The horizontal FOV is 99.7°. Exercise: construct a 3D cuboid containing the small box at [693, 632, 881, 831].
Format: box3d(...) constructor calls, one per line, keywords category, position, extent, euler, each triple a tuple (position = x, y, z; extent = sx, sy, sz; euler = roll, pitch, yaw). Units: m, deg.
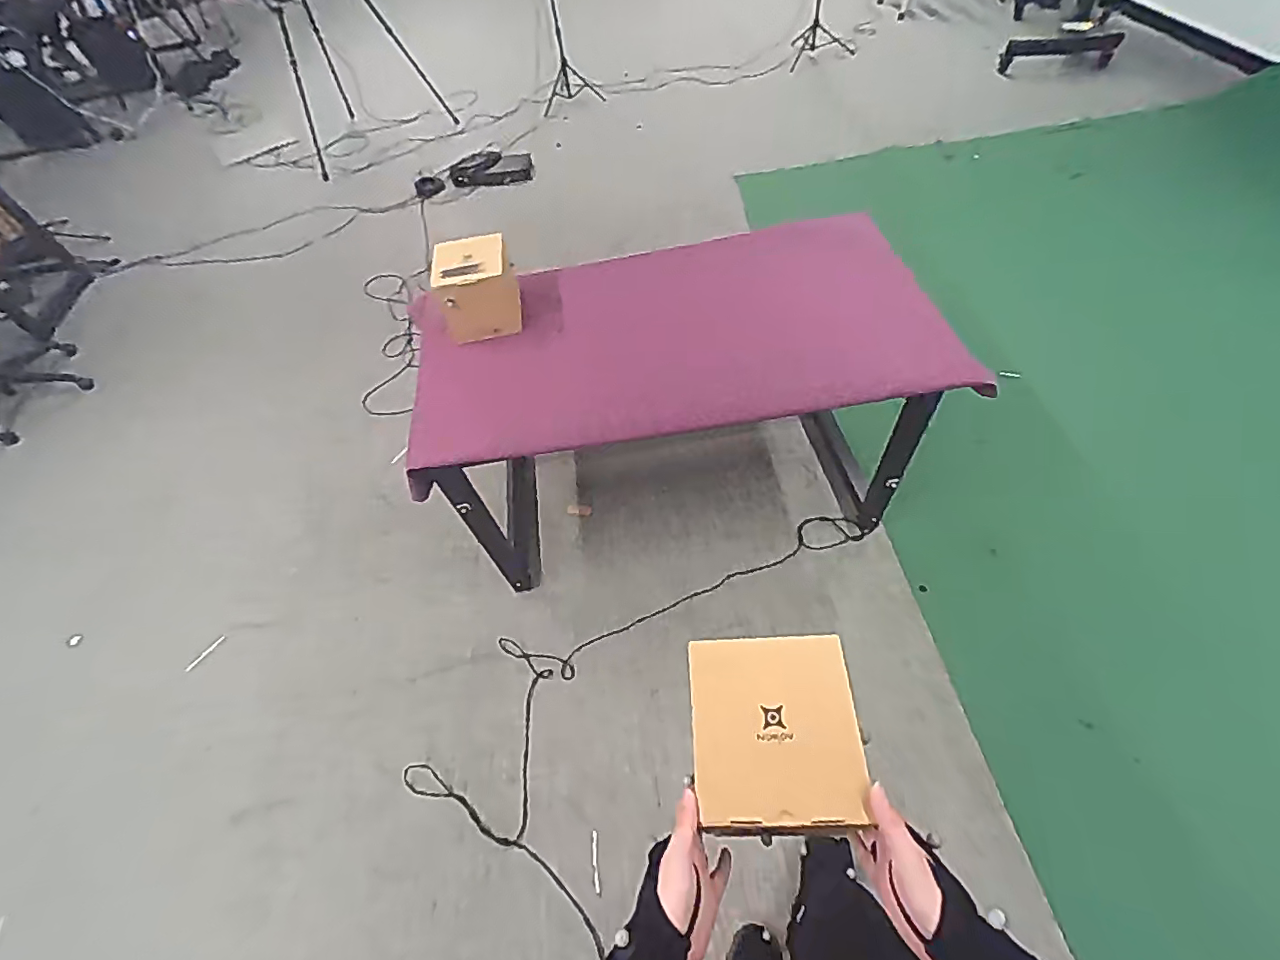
box3d(category="small box", position=(0.144, 0.283, 0.603), extent=(0.168, 0.176, 0.179), euler=(-4, 56, 6))
